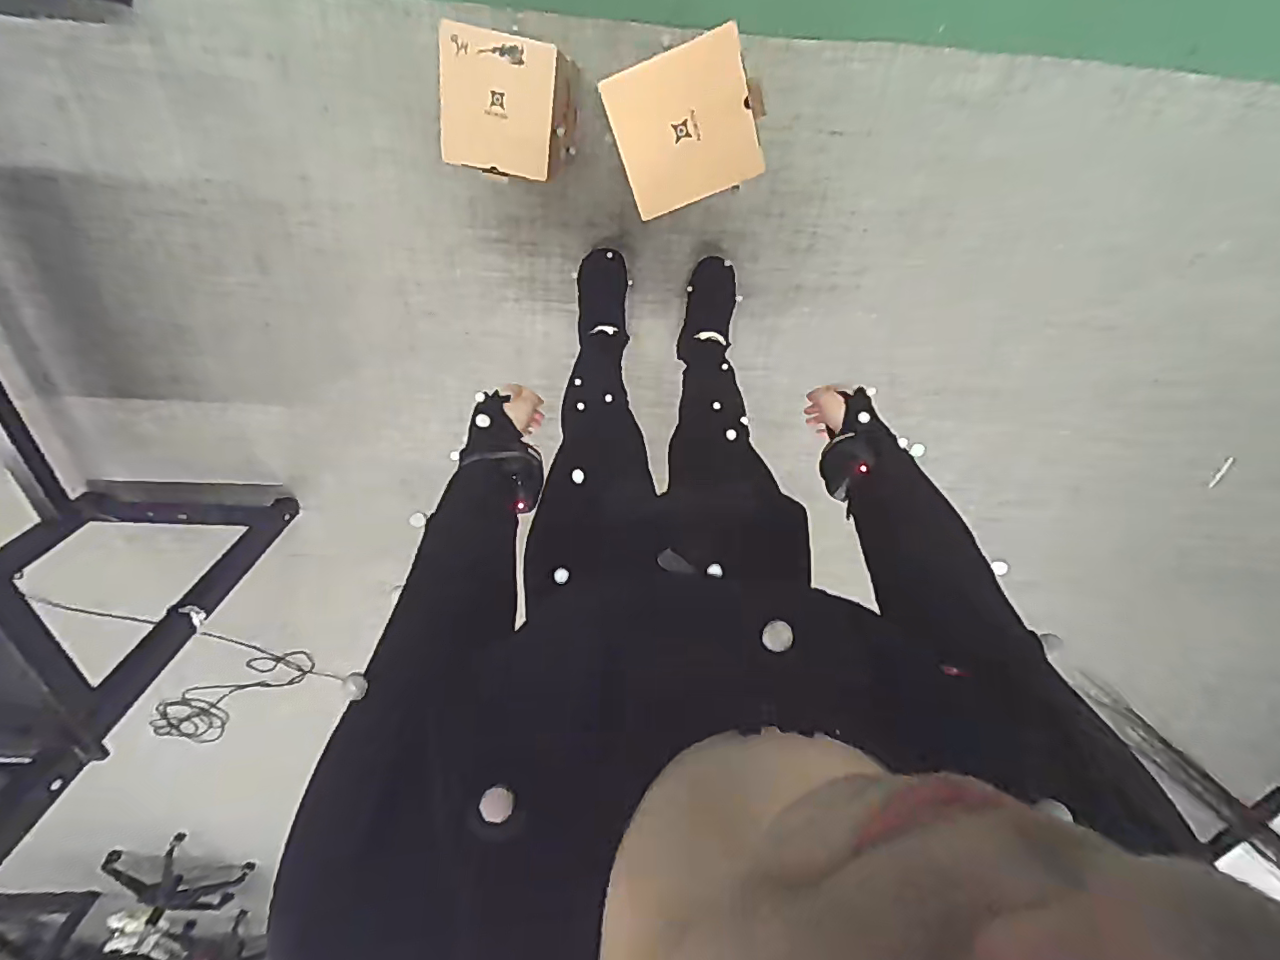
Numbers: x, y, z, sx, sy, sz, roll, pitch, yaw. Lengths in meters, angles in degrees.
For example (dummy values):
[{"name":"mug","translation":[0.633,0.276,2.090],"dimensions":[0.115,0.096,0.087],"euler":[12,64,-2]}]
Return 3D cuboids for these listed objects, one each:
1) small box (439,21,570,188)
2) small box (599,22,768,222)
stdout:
[{"name":"small box","translation":[-0.207,-0.581,0.853],"dimensions":[0.168,0.176,0.179],"euler":[10,122,-5]},{"name":"small box","translation":[0.057,-0.475,0.735],"dimensions":[0.179,0.176,0.168],"euler":[-18,122,10]}]
